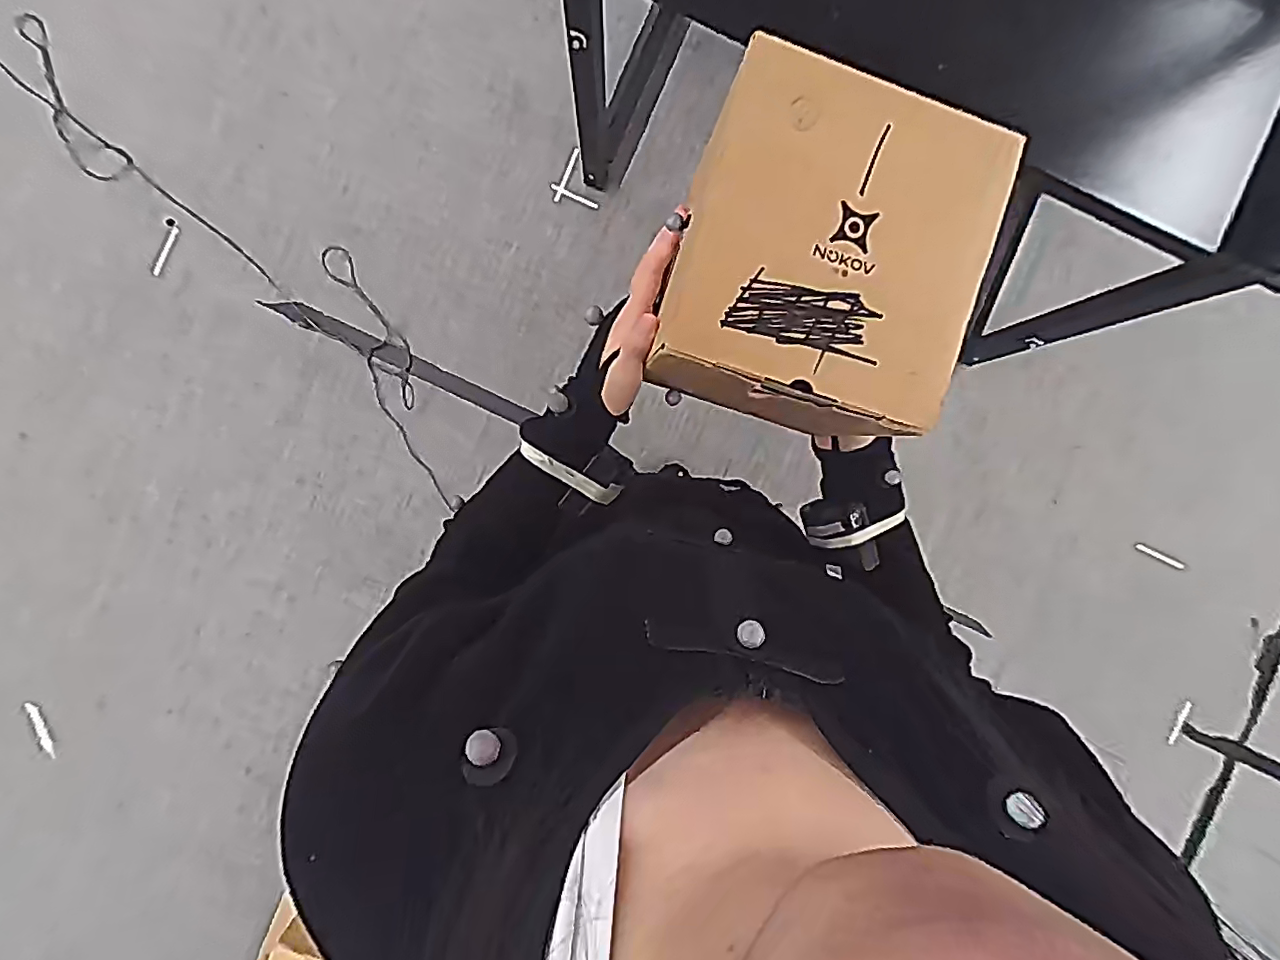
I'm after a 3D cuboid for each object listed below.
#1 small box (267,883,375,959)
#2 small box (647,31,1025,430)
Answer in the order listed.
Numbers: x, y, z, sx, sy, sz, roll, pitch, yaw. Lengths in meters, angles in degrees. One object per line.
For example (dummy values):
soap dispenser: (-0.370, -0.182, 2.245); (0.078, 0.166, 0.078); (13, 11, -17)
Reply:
small box: (-0.749, 1.096, 1.247); (0.168, 0.176, 0.179); (27, 89, -3)
small box: (0.107, -0.139, 0.377); (0.168, 0.176, 0.179); (16, 92, -7)
